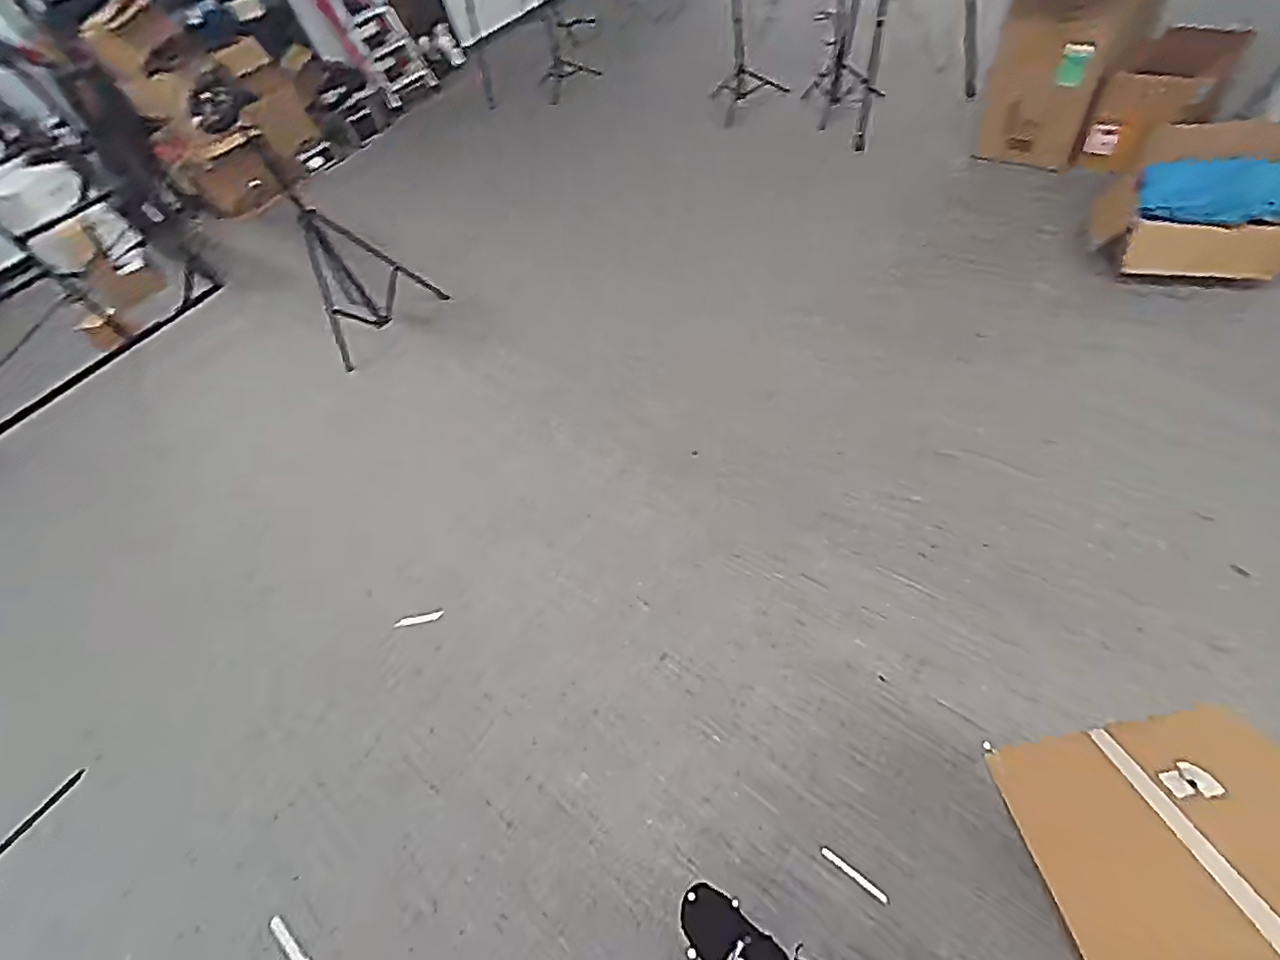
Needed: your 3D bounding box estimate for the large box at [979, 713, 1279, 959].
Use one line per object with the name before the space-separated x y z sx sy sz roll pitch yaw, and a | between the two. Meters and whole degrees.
large box | 0.677 0.546 0.622 0.320 0.408 0.320 -23 90 17
